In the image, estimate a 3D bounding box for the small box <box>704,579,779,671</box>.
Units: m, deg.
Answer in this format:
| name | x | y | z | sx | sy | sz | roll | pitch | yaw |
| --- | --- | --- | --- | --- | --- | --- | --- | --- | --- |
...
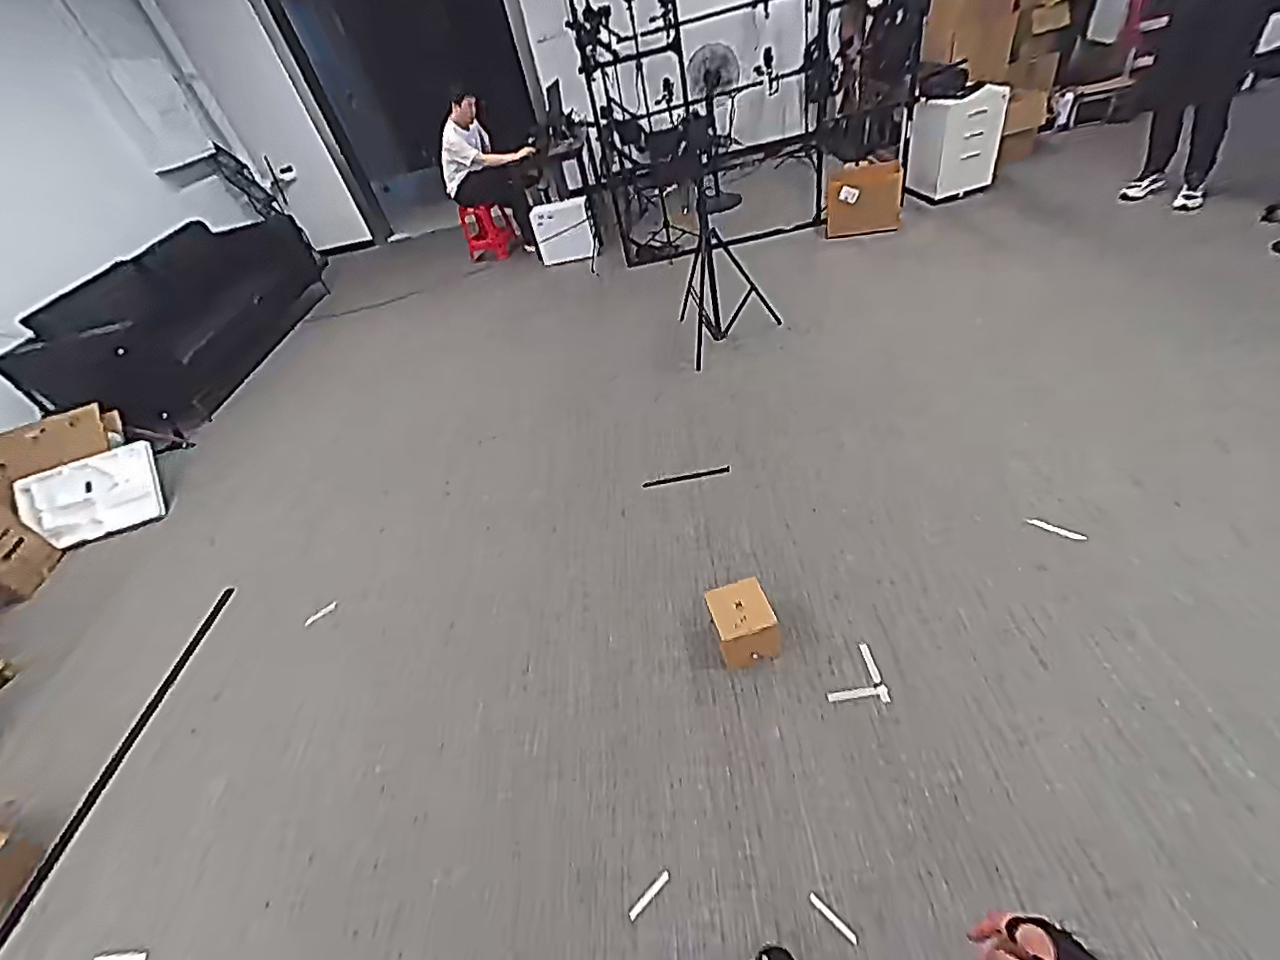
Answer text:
| name | x | y | z | sx | sy | sz | roll | pitch | yaw |
| --- | --- | --- | --- | --- | --- | --- | --- | --- | --- |
| small box | 0.300 | 0.429 | 1.597 | 0.168 | 0.176 | 0.179 | -18 | 41 | -2 |
